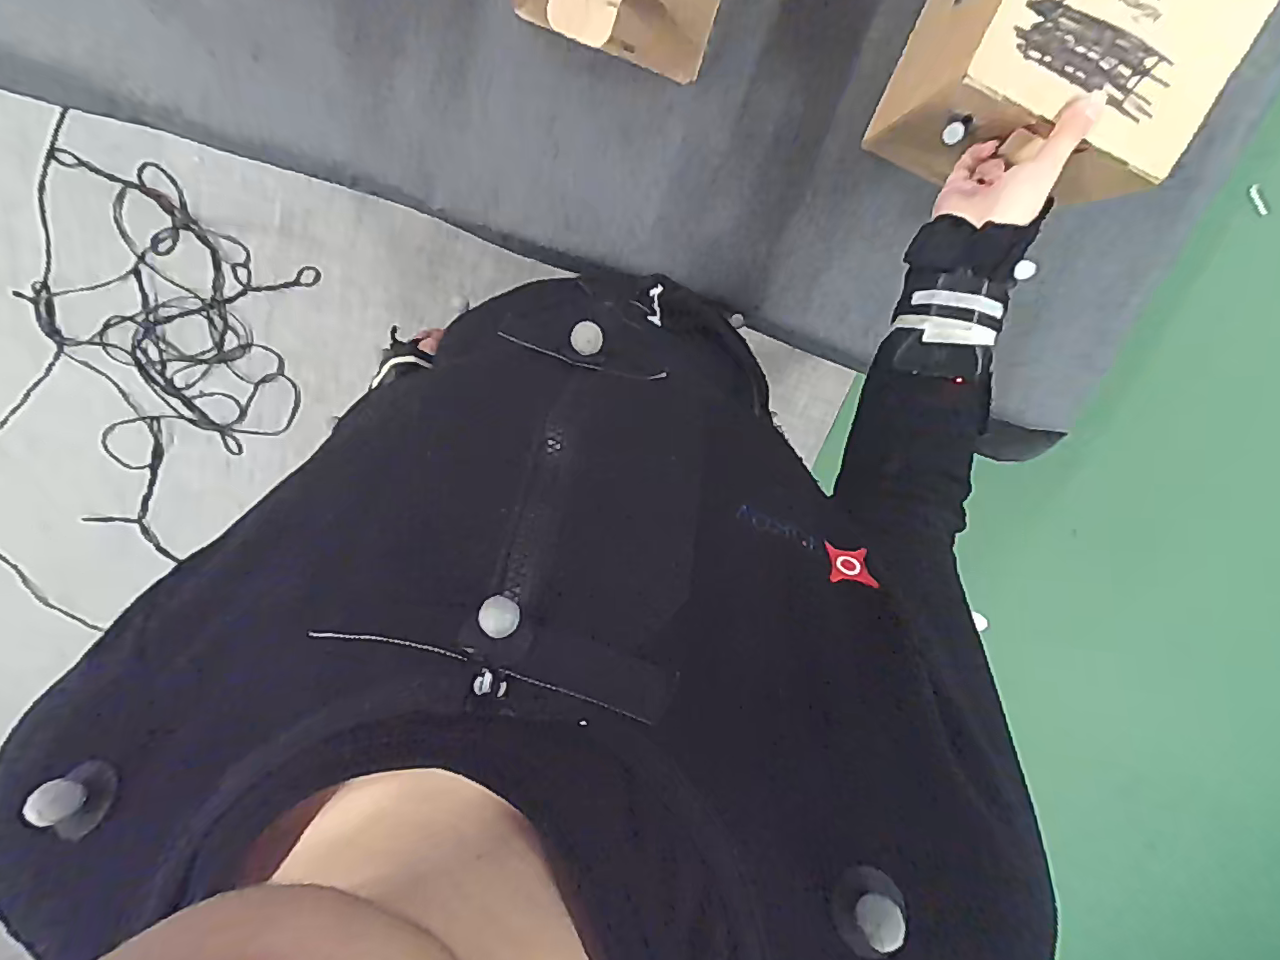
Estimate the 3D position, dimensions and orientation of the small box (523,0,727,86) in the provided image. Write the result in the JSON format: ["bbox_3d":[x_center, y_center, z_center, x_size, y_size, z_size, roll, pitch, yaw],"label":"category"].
[{"bbox_3d":[0.001,-0.429,0.379,0.168,0.176,0.179,17,107,-8],"label":"small box"}]
